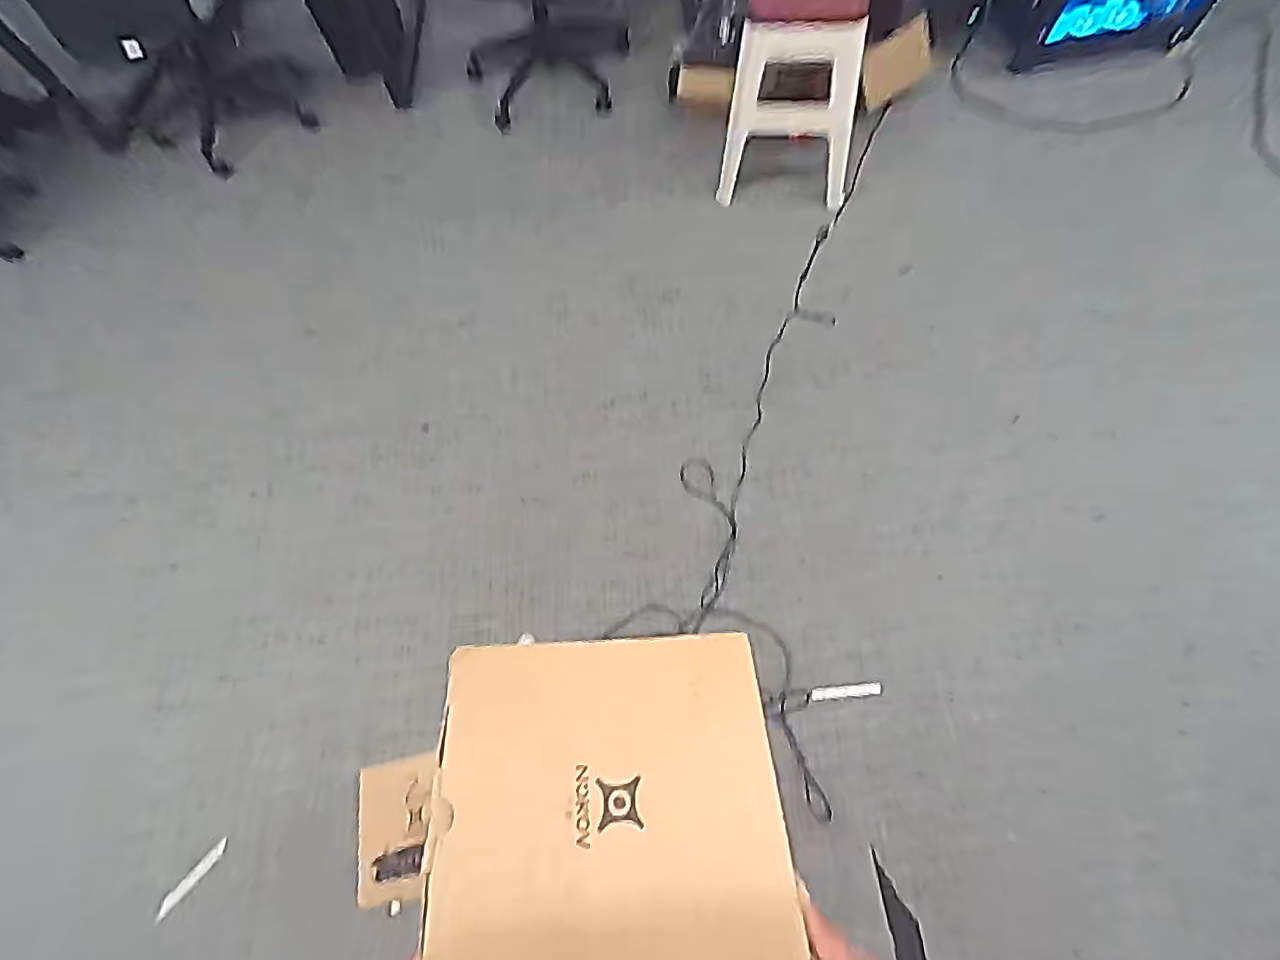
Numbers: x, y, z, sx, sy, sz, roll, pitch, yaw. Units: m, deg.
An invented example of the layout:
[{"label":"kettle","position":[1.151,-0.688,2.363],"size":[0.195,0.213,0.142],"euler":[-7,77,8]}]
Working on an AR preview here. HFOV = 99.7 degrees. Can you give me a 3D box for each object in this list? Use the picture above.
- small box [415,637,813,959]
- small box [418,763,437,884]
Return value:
[{"label":"small box","position":[-0.019,0.205,0.332],"size":[0.179,0.176,0.168],"euler":[-2,57,-5]},{"label":"small box","position":[-0.282,0.601,0.982],"size":[0.168,0.176,0.179],"euler":[-9,63,2]}]
